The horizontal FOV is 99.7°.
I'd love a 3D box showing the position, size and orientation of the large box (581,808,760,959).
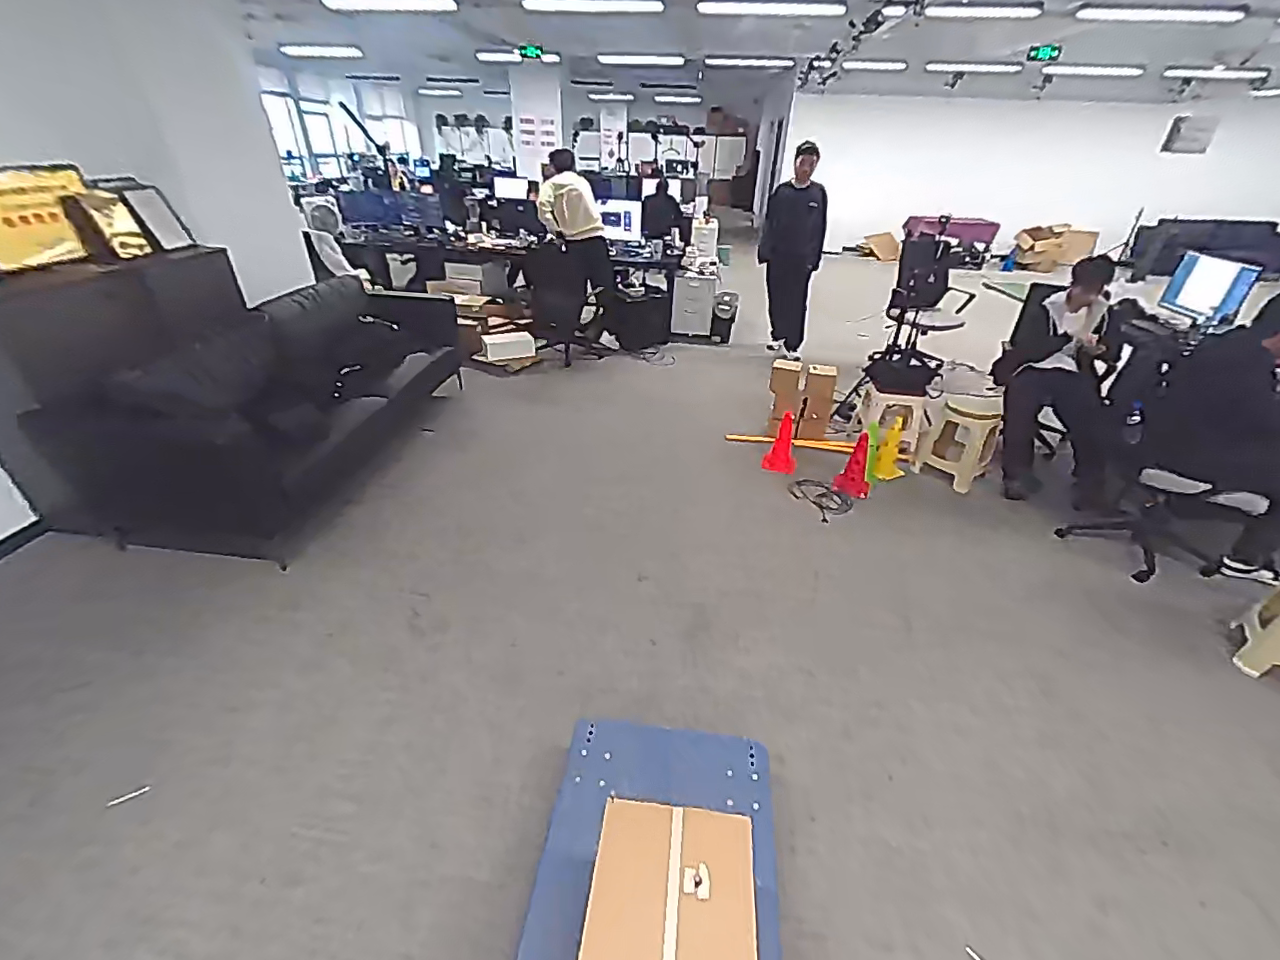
[{"bbox_3d":[0.056,0.940,1.048,0.320,0.320,0.408,5,31,5],"label":"large box"}]
